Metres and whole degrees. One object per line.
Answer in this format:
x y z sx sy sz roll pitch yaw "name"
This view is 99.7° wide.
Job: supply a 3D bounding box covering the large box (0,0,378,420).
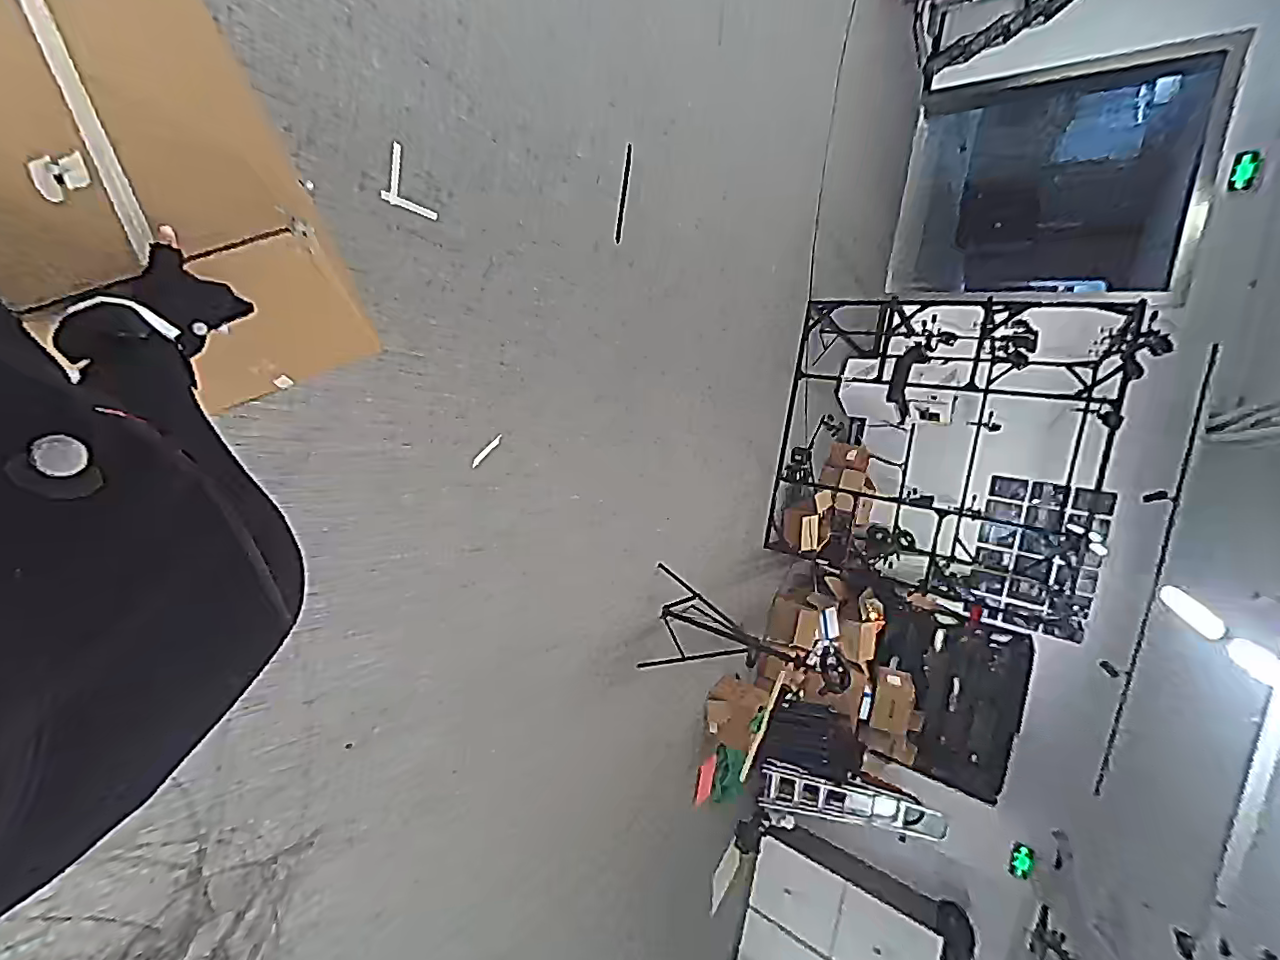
-0.632 -0.356 0.744 0.320 0.320 0.408 -28 85 -14 "large box"
